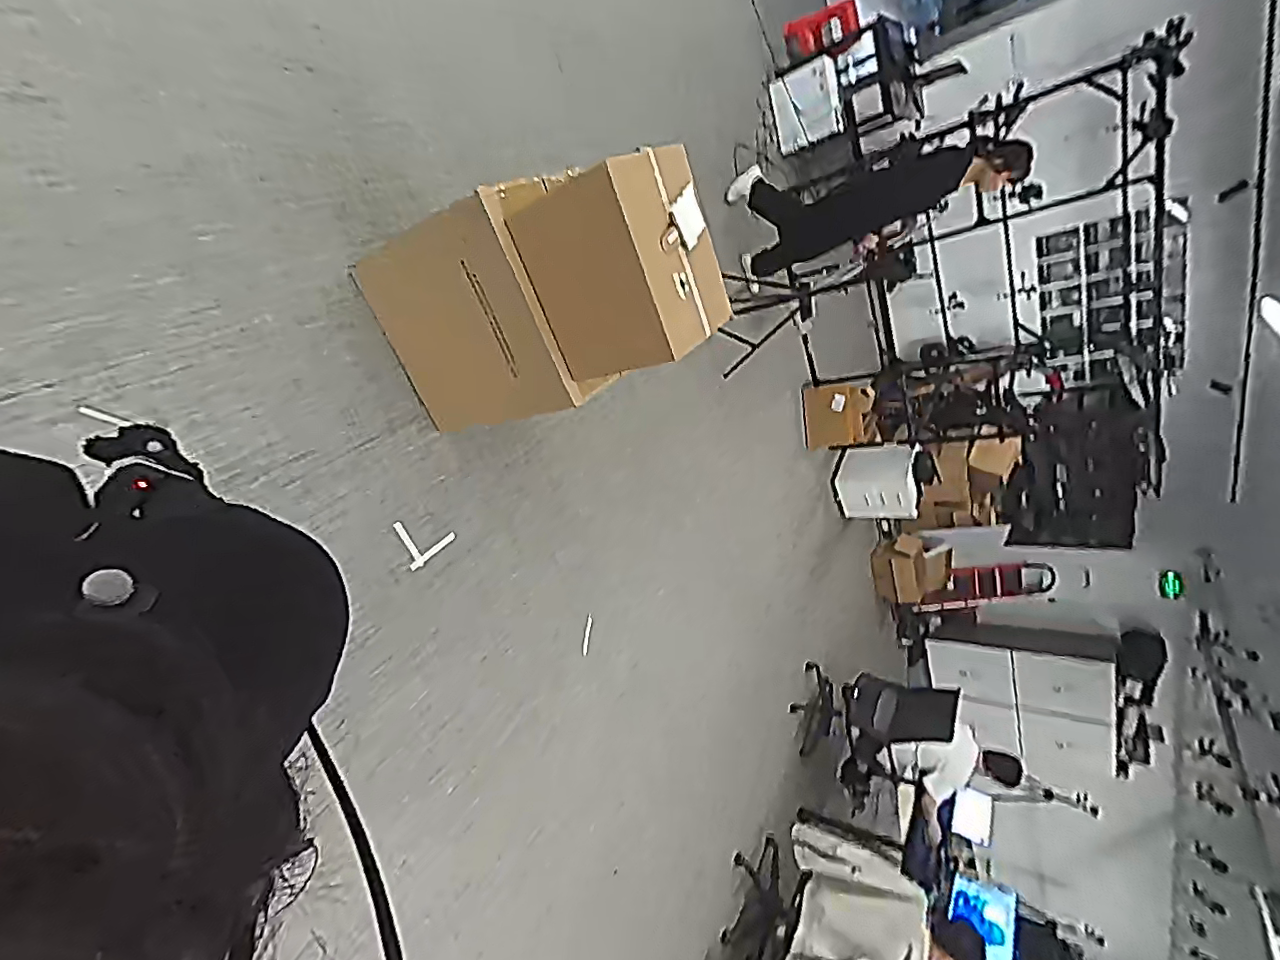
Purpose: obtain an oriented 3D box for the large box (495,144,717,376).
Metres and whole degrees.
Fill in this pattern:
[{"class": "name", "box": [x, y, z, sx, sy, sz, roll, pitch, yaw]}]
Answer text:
[{"class": "large box", "box": [-0.066, -0.506, 1.282, 0.320, 0.320, 0.408, -45, 123, -43]}]
